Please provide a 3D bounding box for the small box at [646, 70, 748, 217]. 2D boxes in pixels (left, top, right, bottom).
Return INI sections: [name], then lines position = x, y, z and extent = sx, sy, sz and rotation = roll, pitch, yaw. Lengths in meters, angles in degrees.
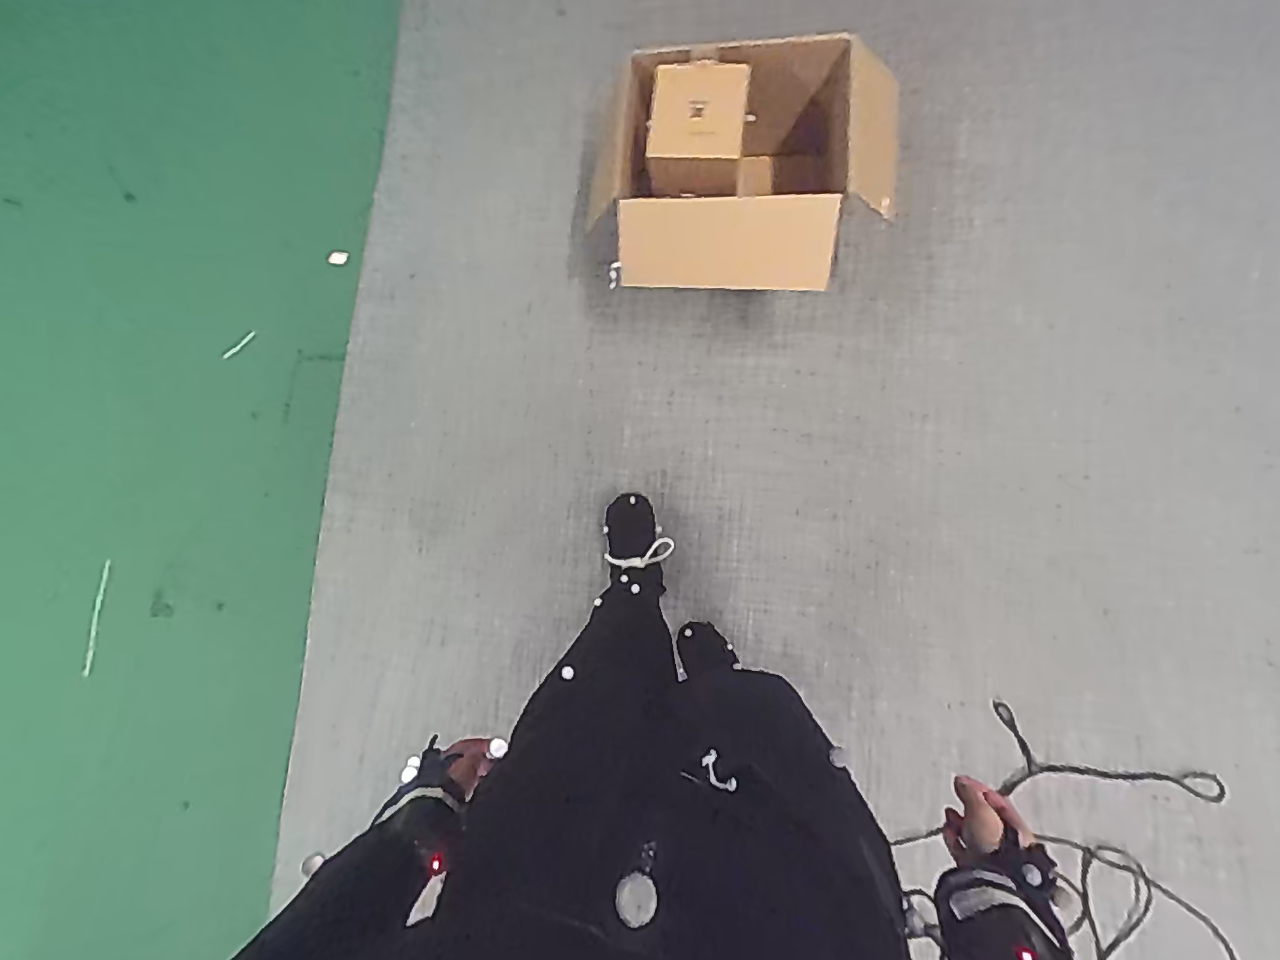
[small box]
position = 0.110, -0.638, 1.039
extent = 0.168, 0.176, 0.179
rotation = 7, 87, 8
